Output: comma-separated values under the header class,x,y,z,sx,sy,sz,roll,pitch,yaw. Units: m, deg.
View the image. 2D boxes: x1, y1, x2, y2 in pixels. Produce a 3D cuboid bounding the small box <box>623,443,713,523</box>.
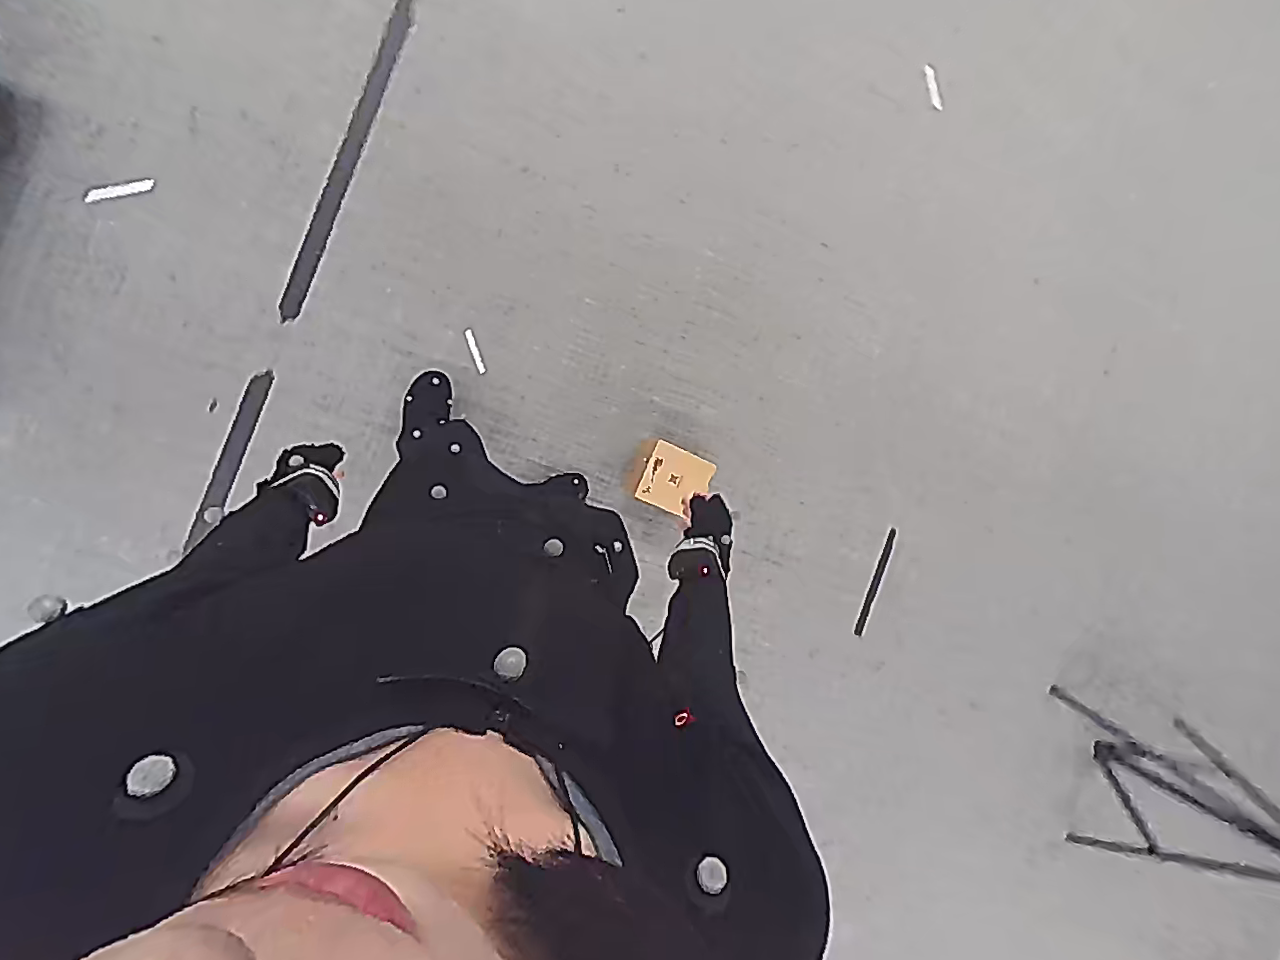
class,x,y,z,sx,sy,sz,roll,pitch,yaw
small box,0.071,0.001,1.495,0.179,0.176,0.168,25,89,-12
